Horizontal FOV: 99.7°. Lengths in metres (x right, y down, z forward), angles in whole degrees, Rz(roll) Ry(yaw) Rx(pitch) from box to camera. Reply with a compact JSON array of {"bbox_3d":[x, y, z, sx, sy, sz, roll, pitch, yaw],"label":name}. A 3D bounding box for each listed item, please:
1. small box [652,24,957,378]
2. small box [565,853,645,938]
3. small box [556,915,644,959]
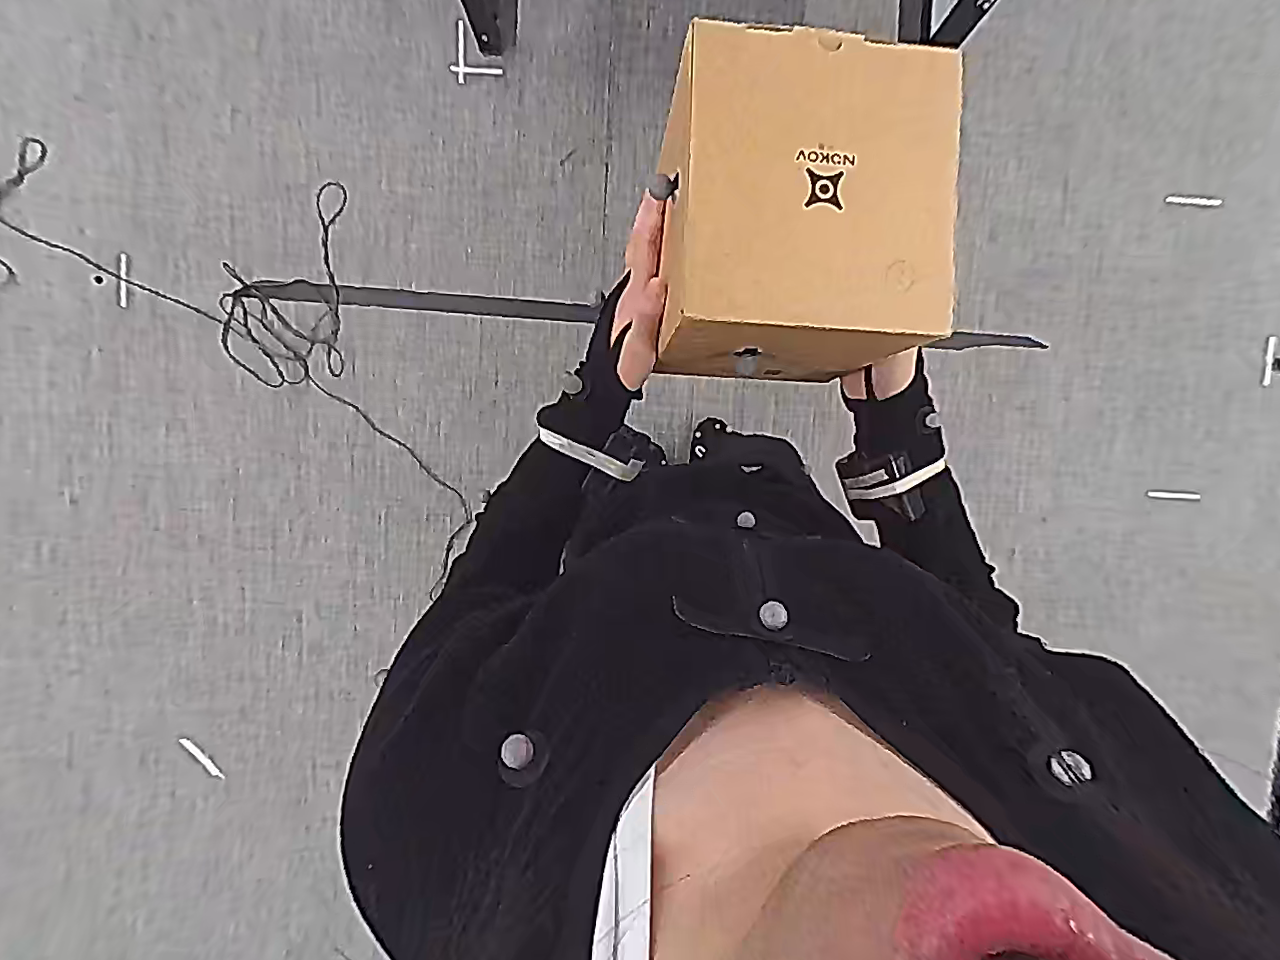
[{"bbox_3d":[0.102,-0.178,0.403,0.168,0.176,0.179,2,89,-6],"label":"small box"},{"bbox_3d":[-0.073,0.961,1.181,0.168,0.176,0.179,0,93,-1],"label":"small box"},{"bbox_3d":[-0.075,0.966,1.019,0.168,0.176,0.179,-1,95,0],"label":"small box"}]
